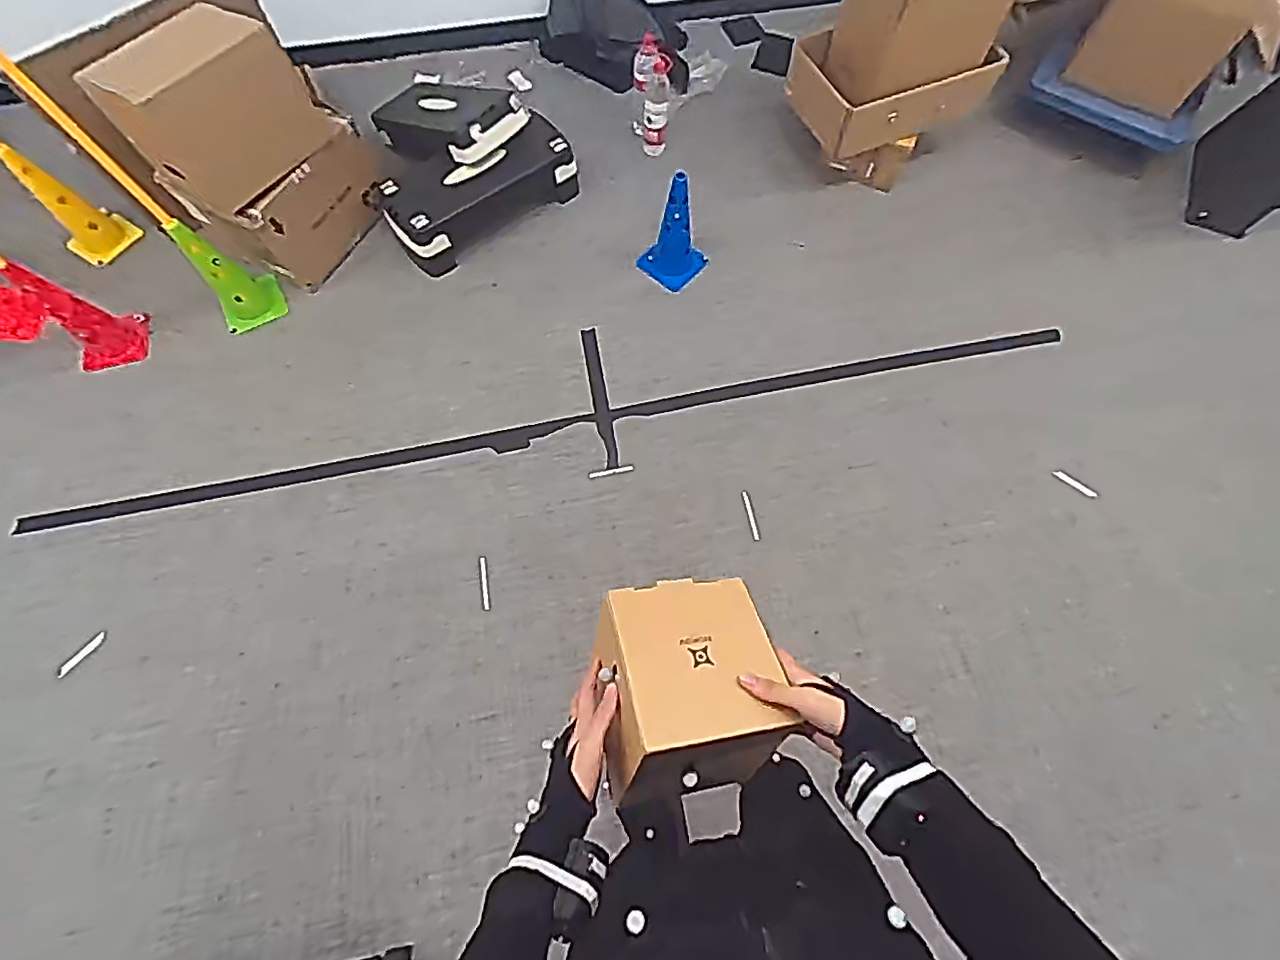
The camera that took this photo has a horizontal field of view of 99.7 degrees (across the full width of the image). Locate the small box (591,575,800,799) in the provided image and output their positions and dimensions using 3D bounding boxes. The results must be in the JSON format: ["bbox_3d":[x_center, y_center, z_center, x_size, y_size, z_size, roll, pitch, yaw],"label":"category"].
[{"bbox_3d":[0.046,0.233,0.607,0.168,0.176,0.179,-3,44,-17],"label":"small box"}]
